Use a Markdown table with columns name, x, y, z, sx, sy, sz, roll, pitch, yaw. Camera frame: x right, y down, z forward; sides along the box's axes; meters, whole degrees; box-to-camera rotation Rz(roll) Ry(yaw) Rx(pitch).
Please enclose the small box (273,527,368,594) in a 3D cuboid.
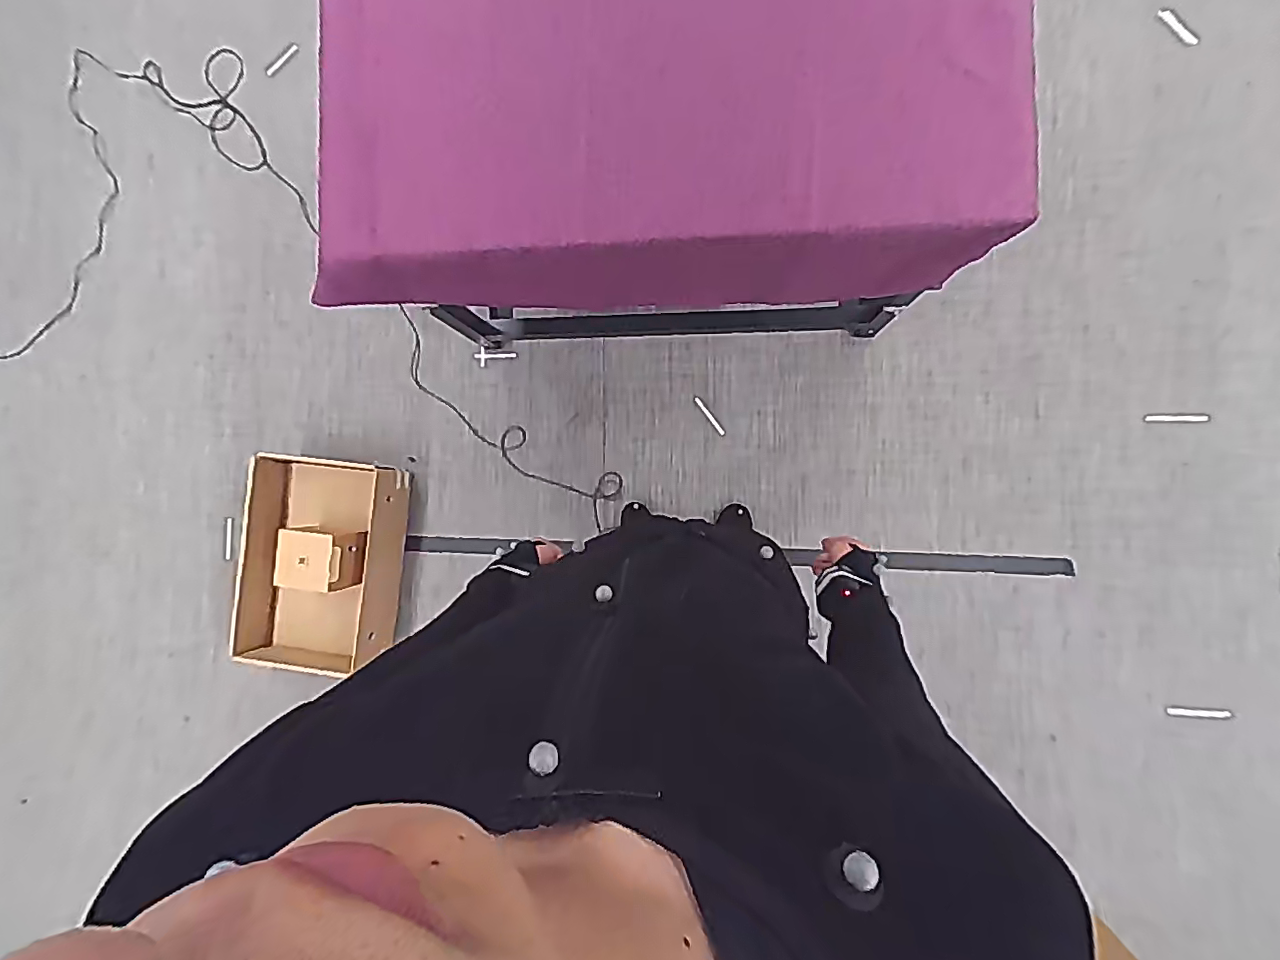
| name | x | y | z | sx | sy | sz | roll | pitch | yaw |
| --- | --- | --- | --- | --- | --- | --- | --- | --- | --- |
| small box | -0.944 | 0.233 | 1.612 | 0.179 | 0.176 | 0.168 | 6 | 89 | 6 |
